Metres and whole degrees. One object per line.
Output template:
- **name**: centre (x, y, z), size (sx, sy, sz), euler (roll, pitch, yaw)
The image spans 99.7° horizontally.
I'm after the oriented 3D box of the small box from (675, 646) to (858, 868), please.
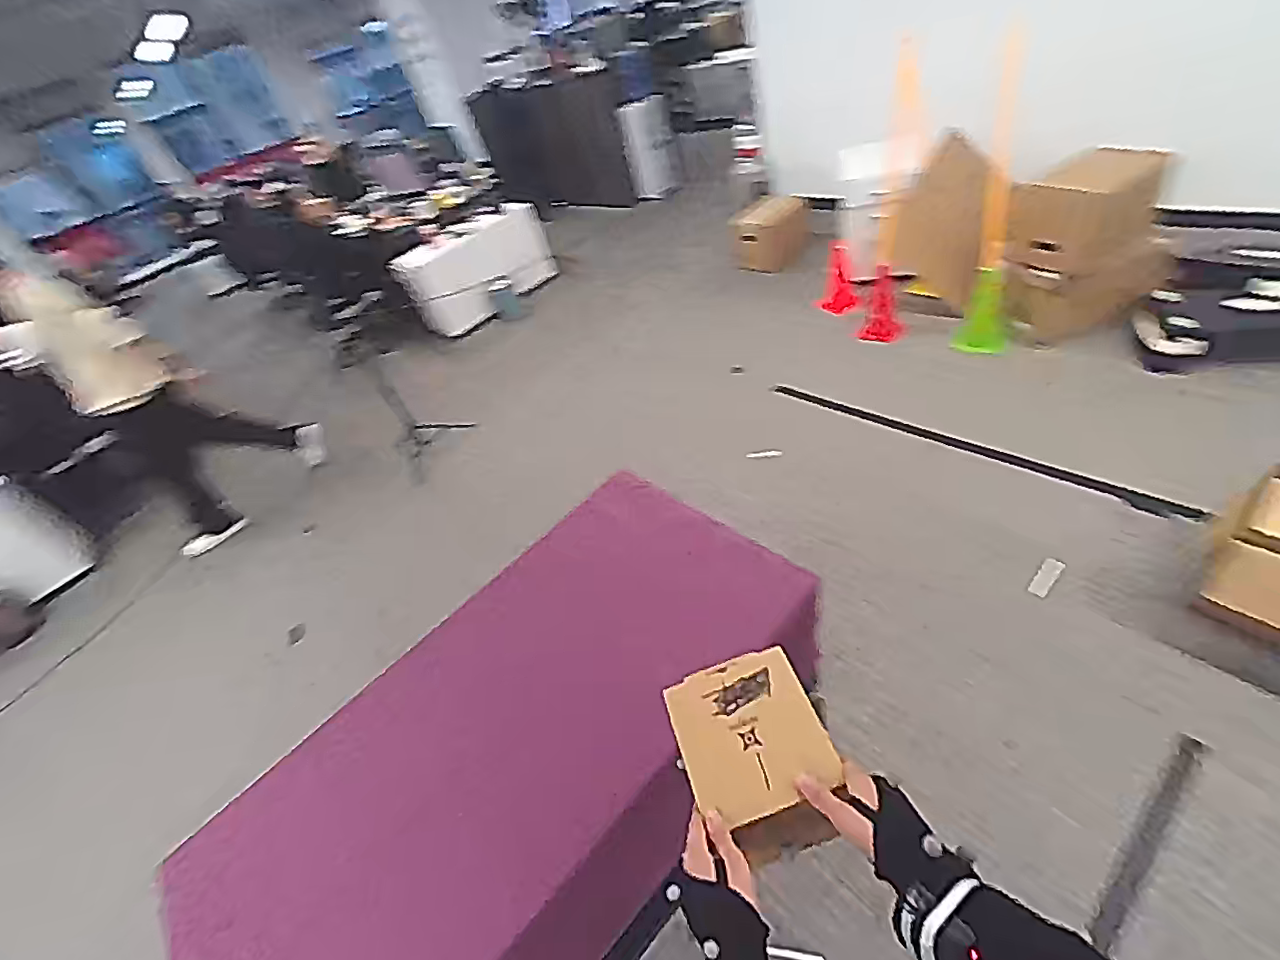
- **small box**: centre (0.158, 0.352, 0.691), size (0.168, 0.176, 0.179), euler (-21, 40, 0)
